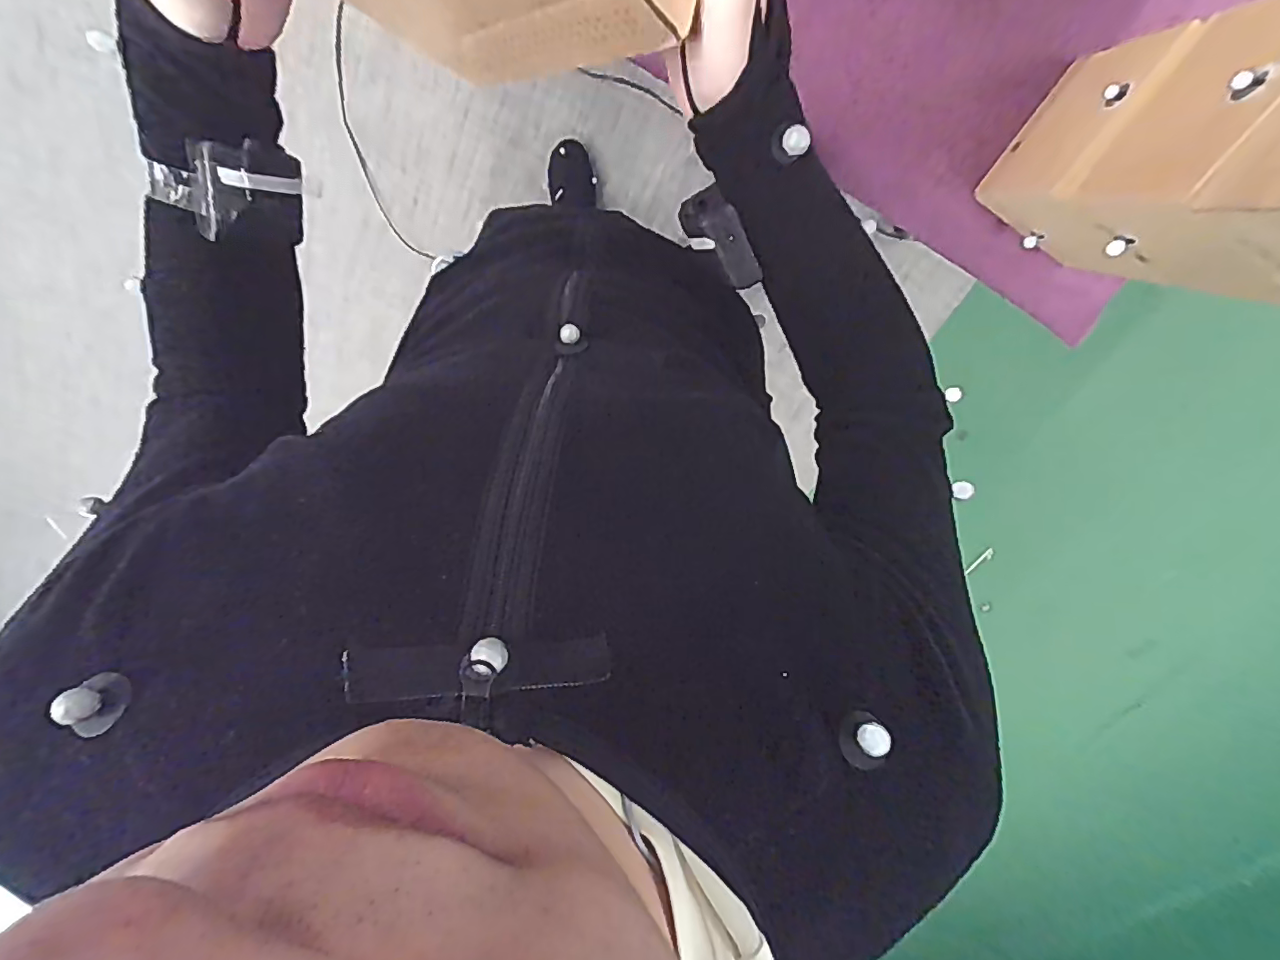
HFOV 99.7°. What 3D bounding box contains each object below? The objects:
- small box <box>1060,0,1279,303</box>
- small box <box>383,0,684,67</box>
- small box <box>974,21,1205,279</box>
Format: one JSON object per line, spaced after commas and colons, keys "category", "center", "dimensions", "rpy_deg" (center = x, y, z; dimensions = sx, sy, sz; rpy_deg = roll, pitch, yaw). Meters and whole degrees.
{"category": "small box", "center": [0.531, -0.282, 0.467], "dimensions": [0.168, 0.176, 0.179], "rpy_deg": [29, 116, -10]}
{"category": "small box", "center": [-0.073, -0.319, 0.235], "dimensions": [0.179, 0.176, 0.168], "rpy_deg": [20, 105, 34]}
{"category": "small box", "center": [0.535, -0.358, 0.612], "dimensions": [0.179, 0.176, 0.168], "rpy_deg": [28, 115, -12]}
